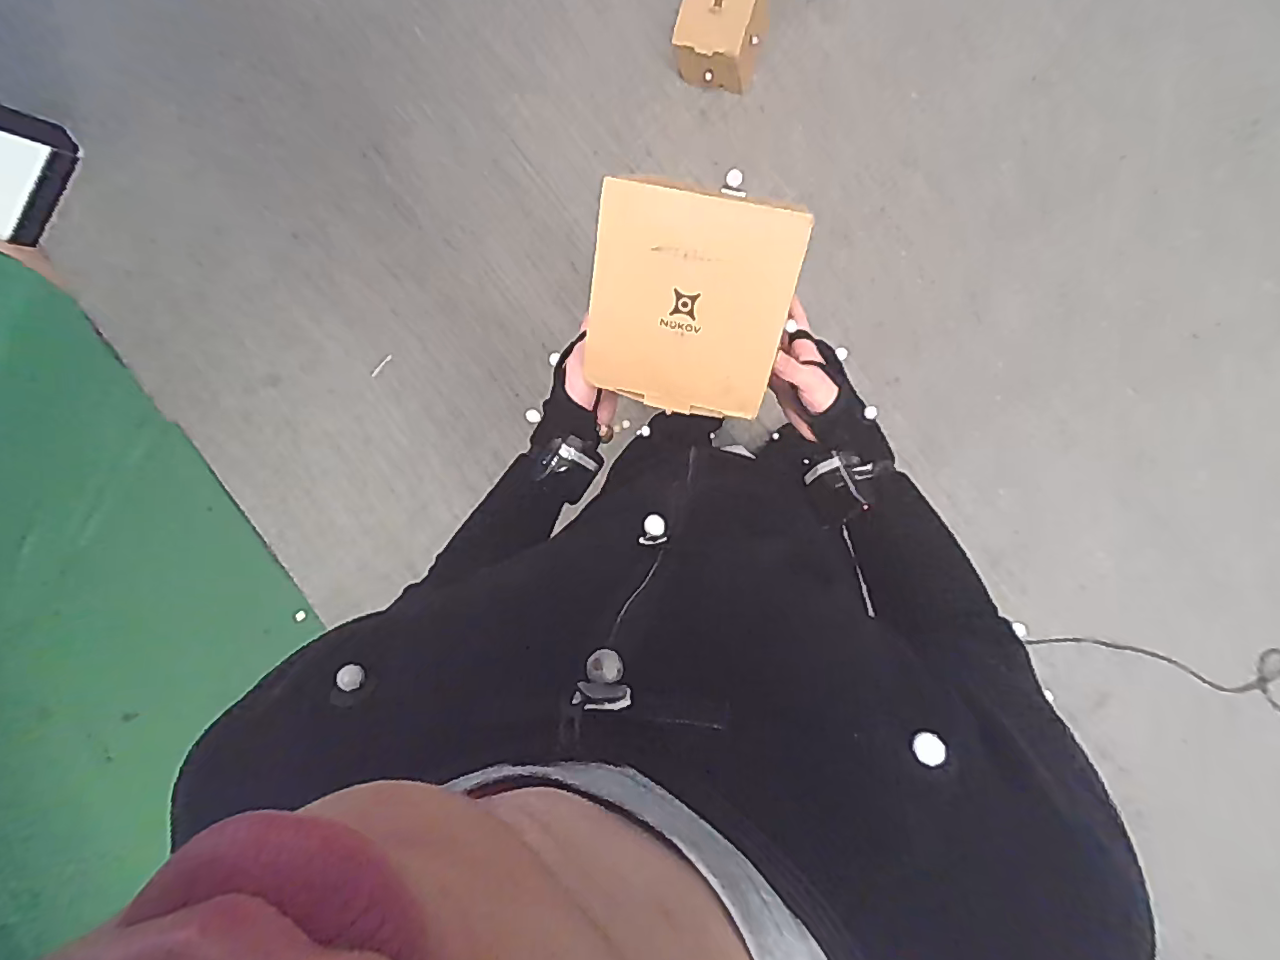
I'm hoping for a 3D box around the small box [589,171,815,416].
[{"bbox_3d":[0.058,-0.188,0.525,0.168,0.176,0.179,13,121,5],"label":"small box"}]
